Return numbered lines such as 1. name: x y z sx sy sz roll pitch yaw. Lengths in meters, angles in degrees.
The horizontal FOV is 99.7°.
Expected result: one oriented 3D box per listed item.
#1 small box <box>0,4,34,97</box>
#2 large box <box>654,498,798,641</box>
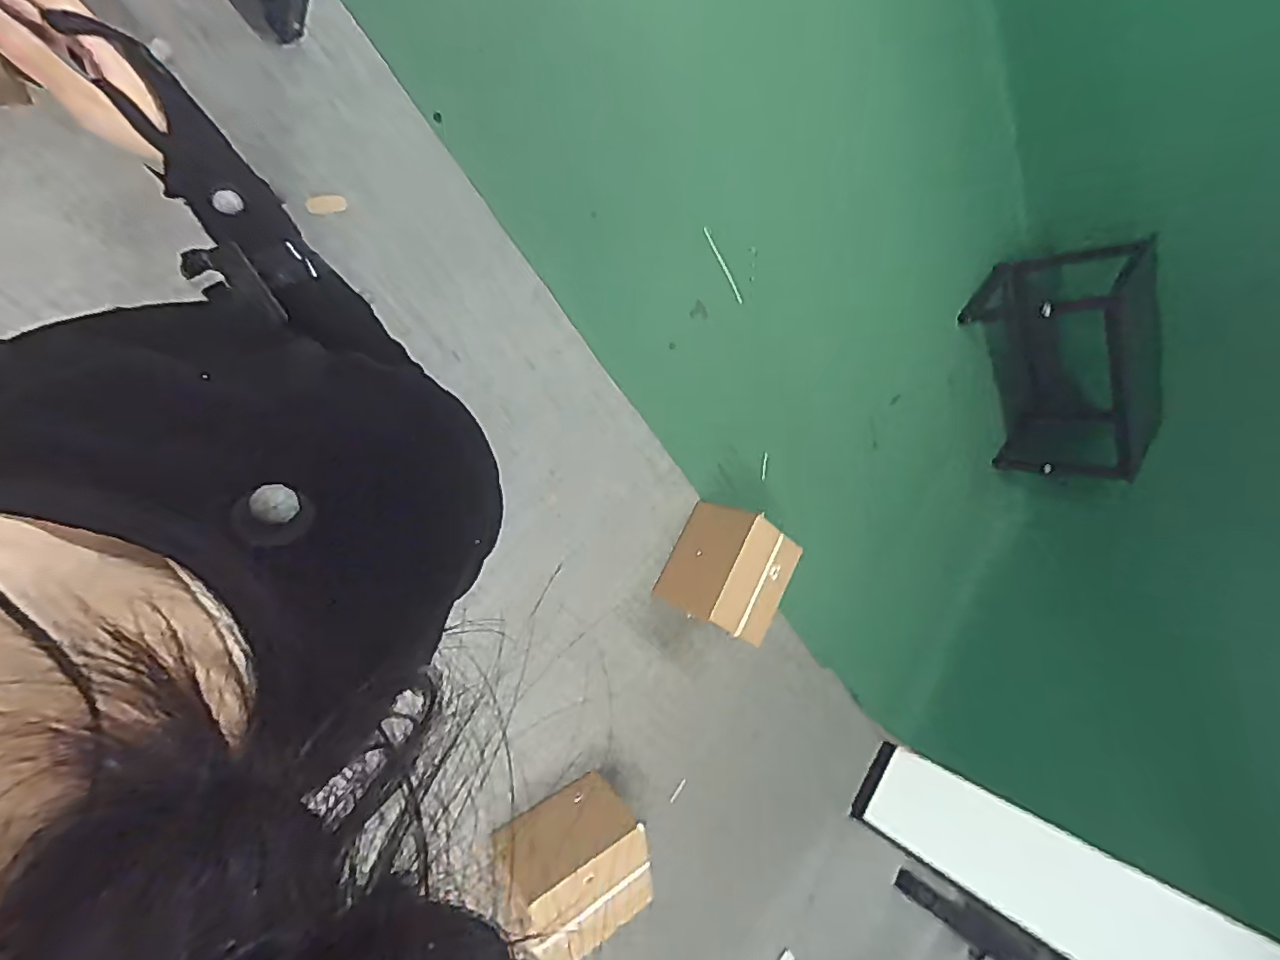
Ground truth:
1. small box: -0.432 -0.271 0.226 0.179 0.176 0.168 -23 123 -28
2. large box: 0.318 0.325 2.021 0.320 0.320 0.408 37 75 -36
